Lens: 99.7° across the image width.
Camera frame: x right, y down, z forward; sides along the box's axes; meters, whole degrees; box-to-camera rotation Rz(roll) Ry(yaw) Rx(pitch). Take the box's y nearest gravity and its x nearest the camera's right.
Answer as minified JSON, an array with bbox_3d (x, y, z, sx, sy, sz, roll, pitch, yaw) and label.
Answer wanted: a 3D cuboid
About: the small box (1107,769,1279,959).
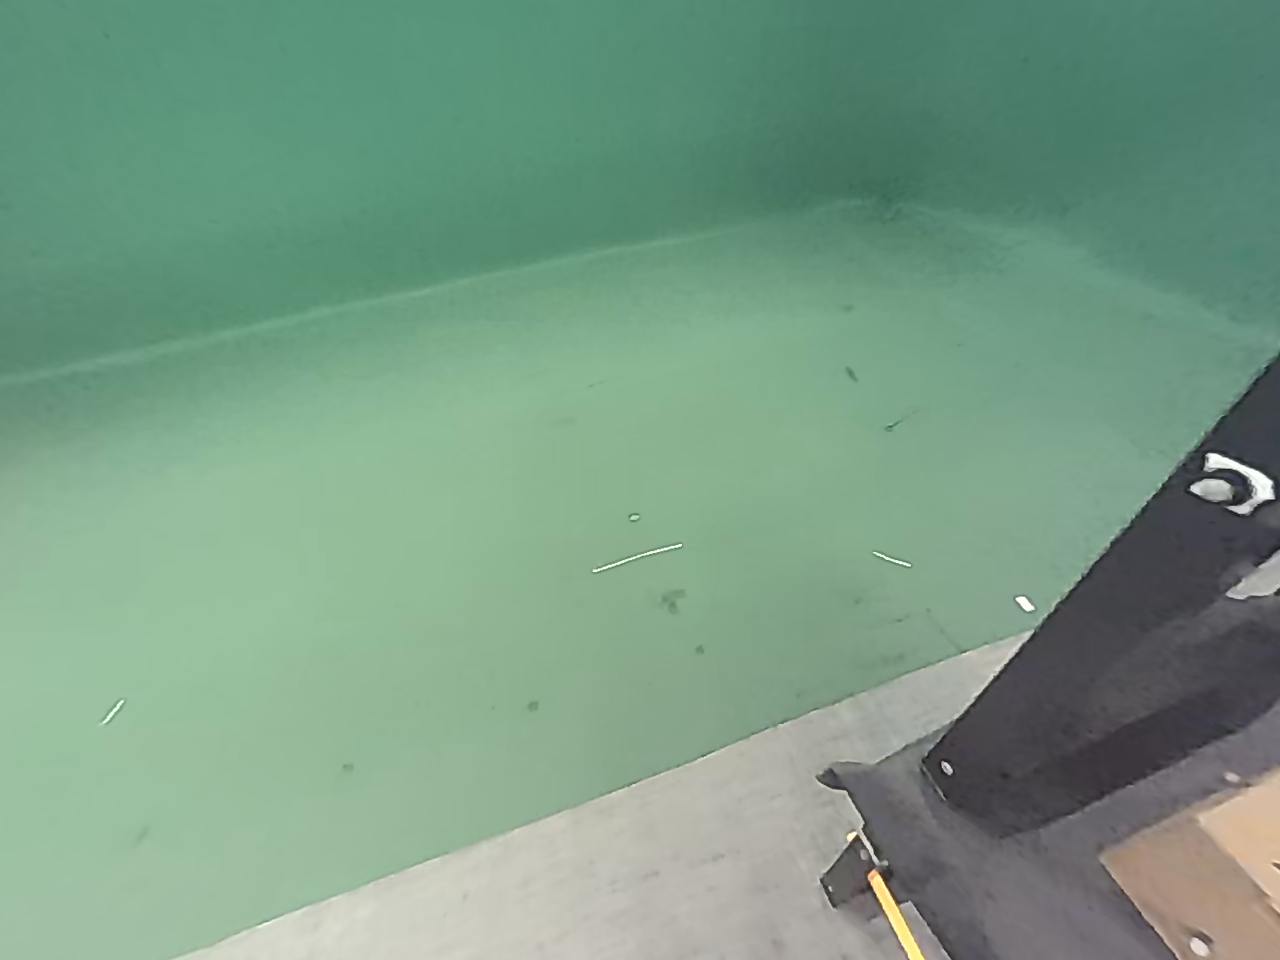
[{"bbox_3d":[0.601,0.386,0.498,0.179,0.176,0.168,-17,46,-11],"label":"small box"}]
